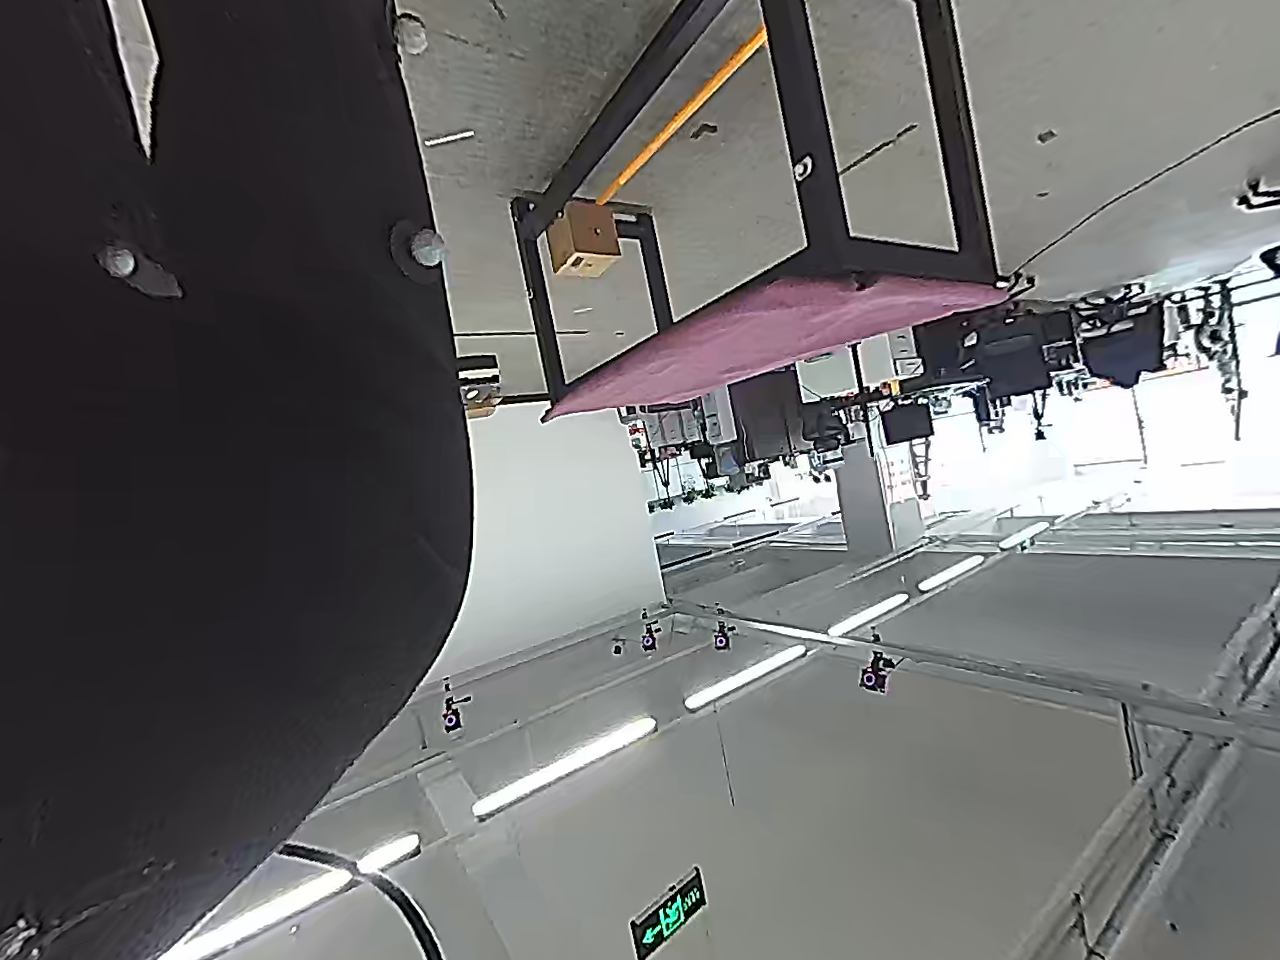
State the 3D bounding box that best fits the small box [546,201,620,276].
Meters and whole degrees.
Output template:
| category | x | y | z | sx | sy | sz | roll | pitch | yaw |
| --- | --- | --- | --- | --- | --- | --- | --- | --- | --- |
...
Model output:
| category | x | y | z | sx | sy | sz | roll | pitch | yaw |
| --- | --- | --- | --- | --- | --- | --- | --- | --- | --- |
| small box | -0.193 | -0.795 | 1.783 | 0.179 | 0.176 | 0.168 | -12 | 180 | -34 |
